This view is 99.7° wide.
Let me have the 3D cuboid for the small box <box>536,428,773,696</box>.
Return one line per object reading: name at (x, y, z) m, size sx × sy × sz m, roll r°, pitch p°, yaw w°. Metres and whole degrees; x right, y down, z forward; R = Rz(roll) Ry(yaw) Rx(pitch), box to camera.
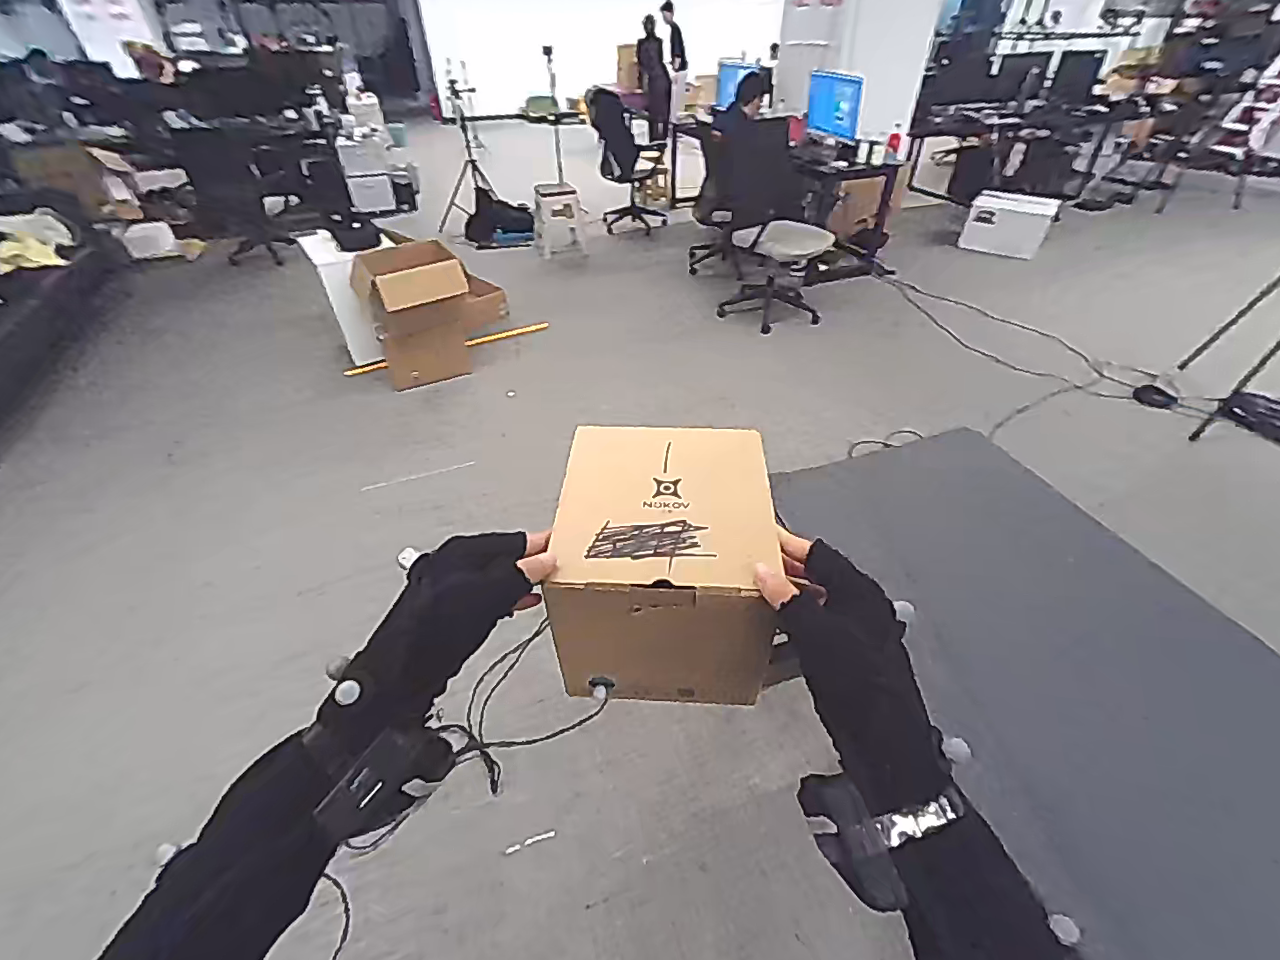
small box at (0.016, 0.072, 0.478) m, size 0.168 × 0.176 × 0.179 m, roll 1°, pitch 42°, yaw 2°
